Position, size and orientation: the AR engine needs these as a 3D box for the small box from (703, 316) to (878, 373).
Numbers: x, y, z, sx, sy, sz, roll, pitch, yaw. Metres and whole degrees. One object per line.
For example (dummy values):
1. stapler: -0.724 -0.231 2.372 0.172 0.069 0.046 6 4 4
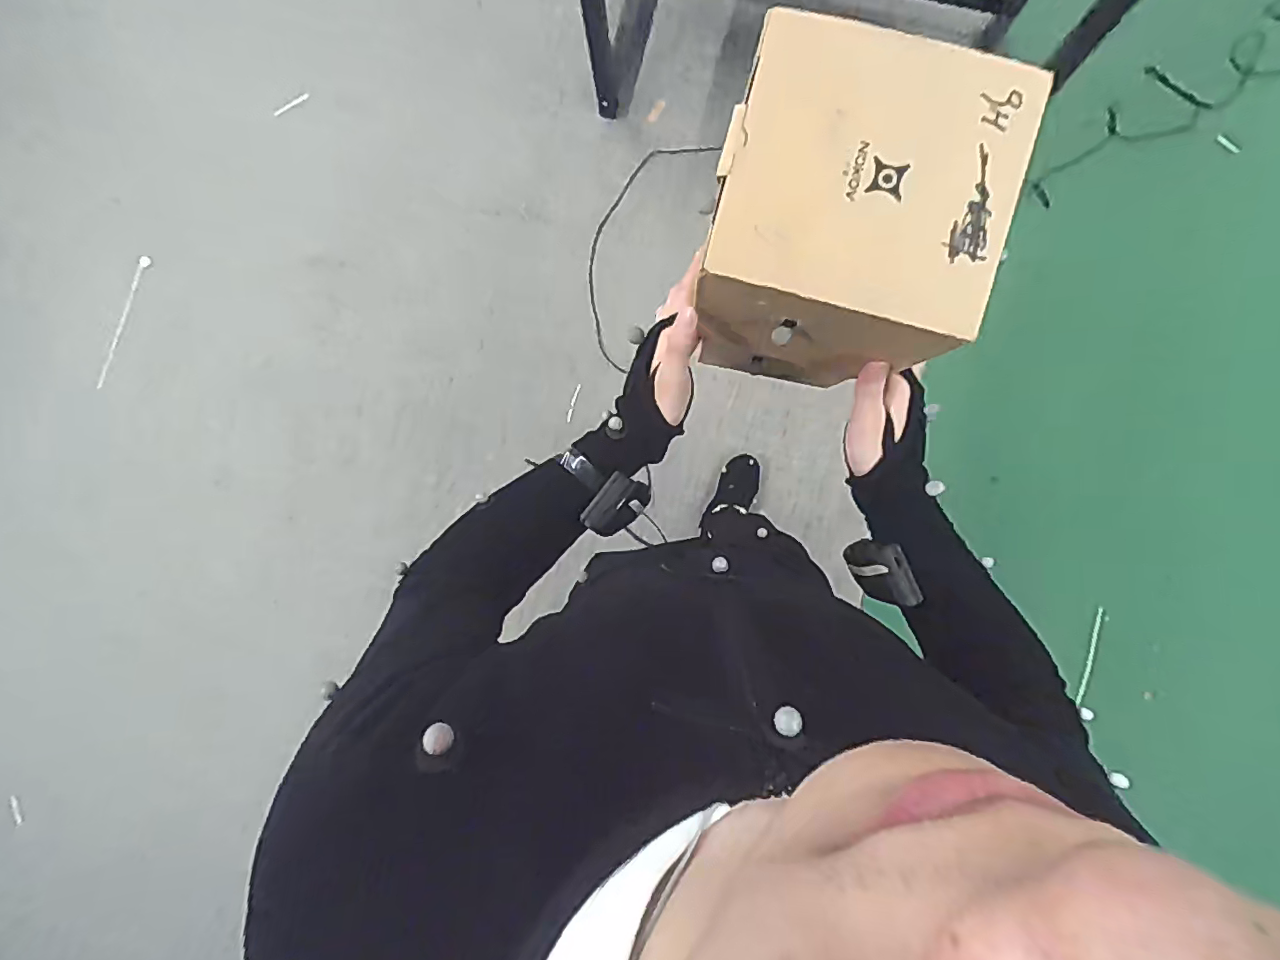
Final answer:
1. small box: 0.163 -0.220 0.567 0.168 0.176 0.179 12 93 3

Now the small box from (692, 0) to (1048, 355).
1. small box: 0.142 -0.203 0.405 0.179 0.176 0.168 15 93 4
